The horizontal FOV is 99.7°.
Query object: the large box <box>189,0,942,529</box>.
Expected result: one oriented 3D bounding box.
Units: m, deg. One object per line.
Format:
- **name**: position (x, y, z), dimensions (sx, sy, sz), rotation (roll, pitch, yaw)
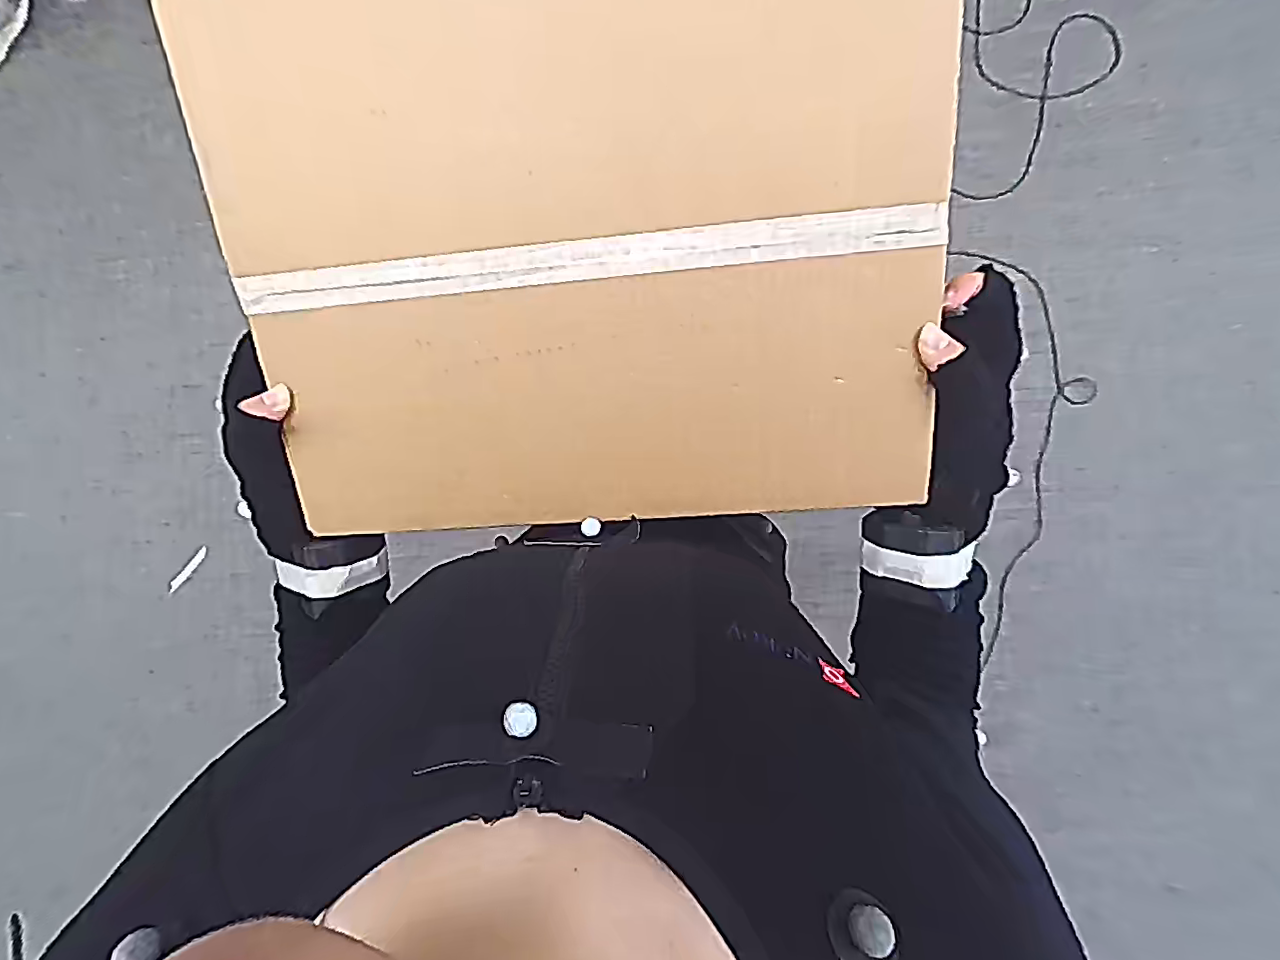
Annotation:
- **large box**: position (-0.028, -0.169, 0.458), dimensions (0.408, 0.320, 0.320), rotation (-4, 108, 5)
